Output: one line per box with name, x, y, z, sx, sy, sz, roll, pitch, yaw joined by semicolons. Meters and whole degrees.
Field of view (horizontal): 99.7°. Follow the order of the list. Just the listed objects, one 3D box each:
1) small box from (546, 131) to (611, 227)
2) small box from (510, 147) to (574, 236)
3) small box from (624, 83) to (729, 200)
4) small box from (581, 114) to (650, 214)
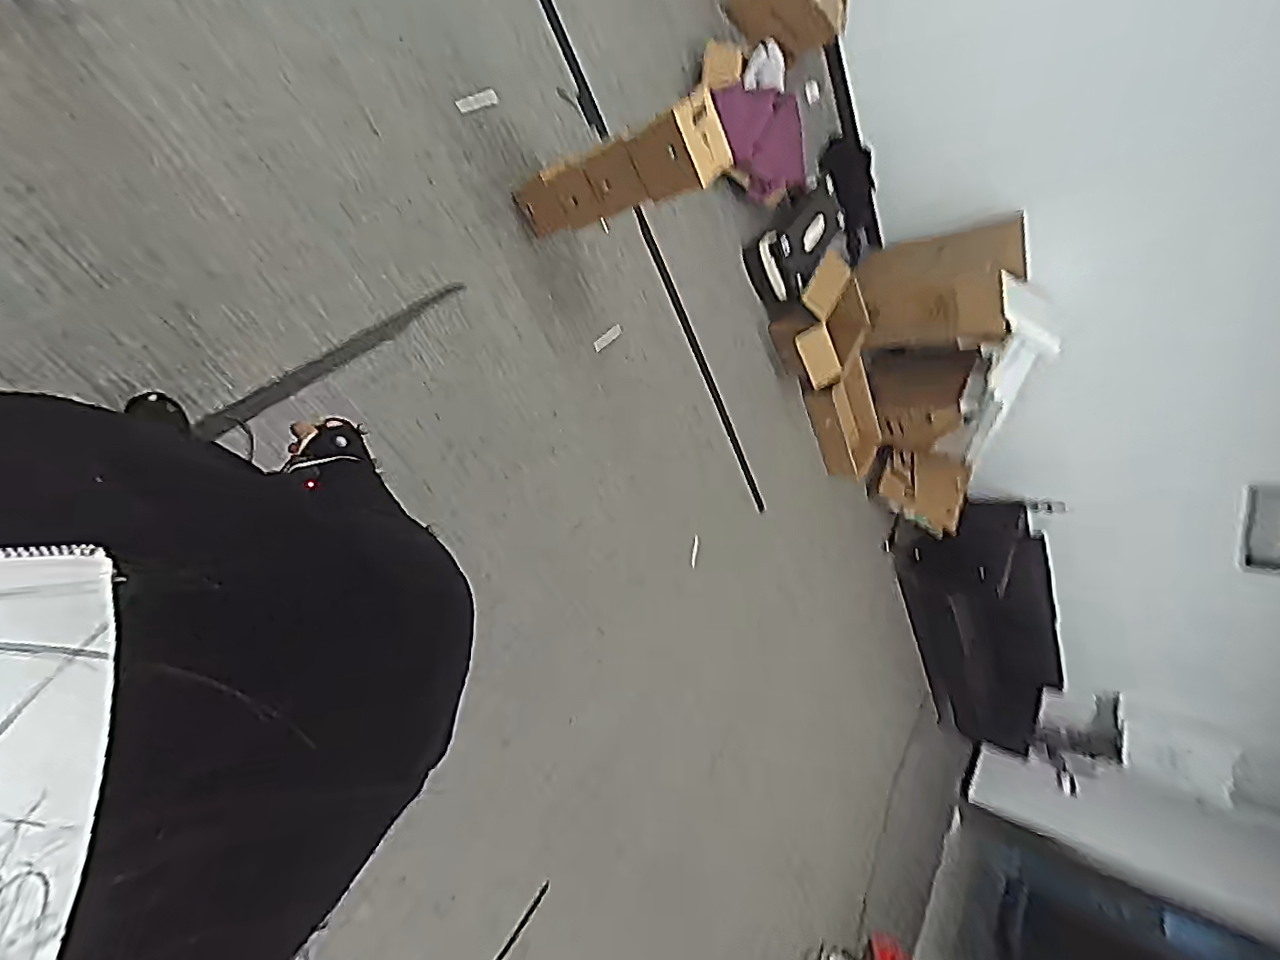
small box;-0.151;-0.877;1.591;0.179;0.176;0.168;-54;127;-27
small box;-0.273;-0.901;1.699;0.179;0.176;0.168;-53;126;-27
small box;0.090;-0.847;1.368;0.168;0.176;0.179;-53;127;-28
small box;-0.029;-0.863;1.480;0.179;0.176;0.168;-50;124;-30
